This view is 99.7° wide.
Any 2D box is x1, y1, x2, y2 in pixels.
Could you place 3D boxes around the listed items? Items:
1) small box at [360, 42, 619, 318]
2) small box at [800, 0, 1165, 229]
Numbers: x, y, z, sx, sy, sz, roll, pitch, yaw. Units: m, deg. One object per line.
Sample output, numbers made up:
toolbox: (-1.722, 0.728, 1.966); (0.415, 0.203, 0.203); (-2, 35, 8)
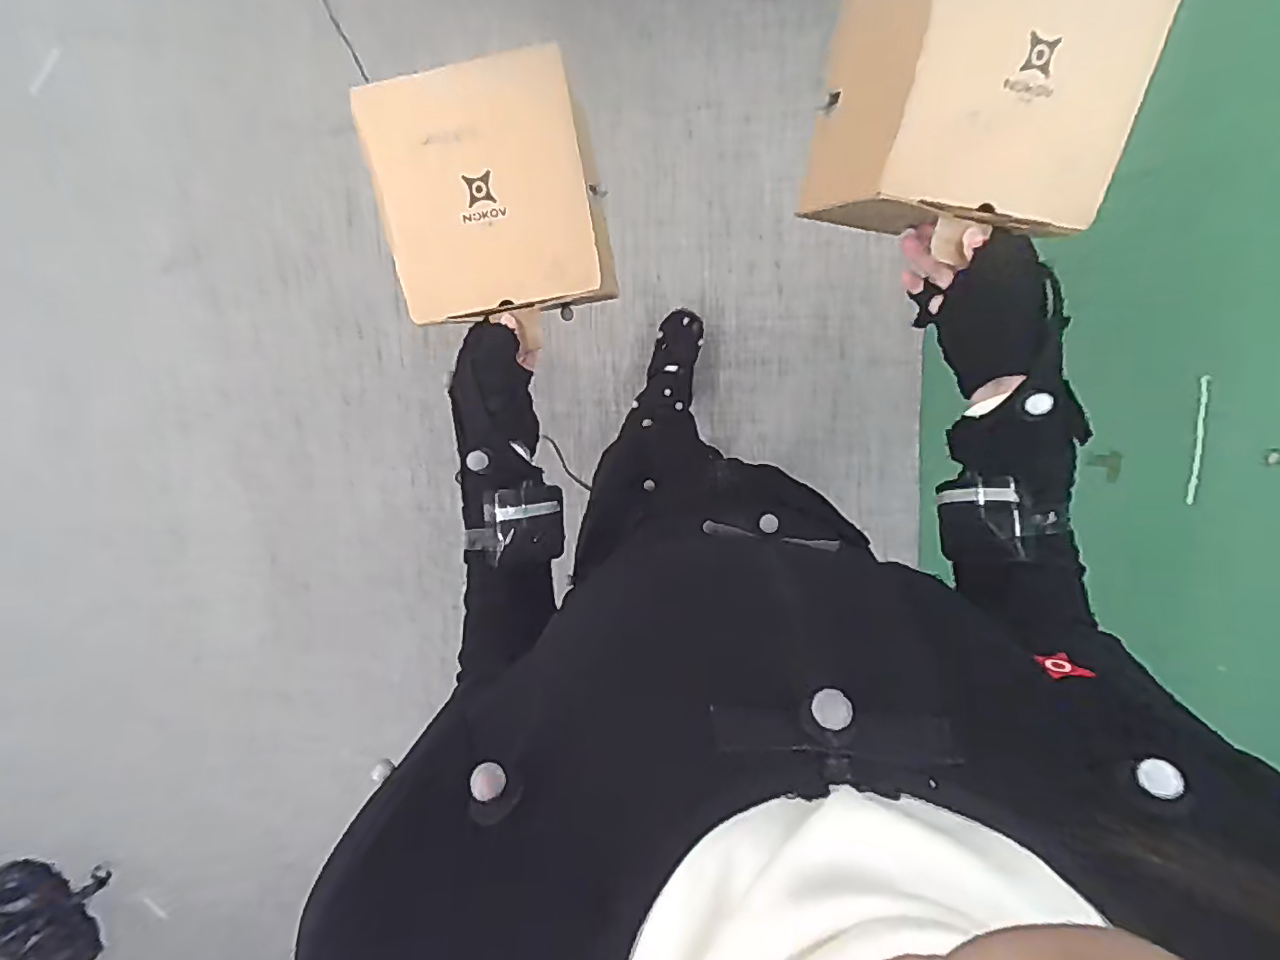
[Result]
small box: (-0.119, -0.257, 0.509); (0.168, 0.176, 0.179); (-9, 106, 5)
small box: (0.245, -0.306, 0.432); (0.168, 0.176, 0.179); (5, 112, -8)
